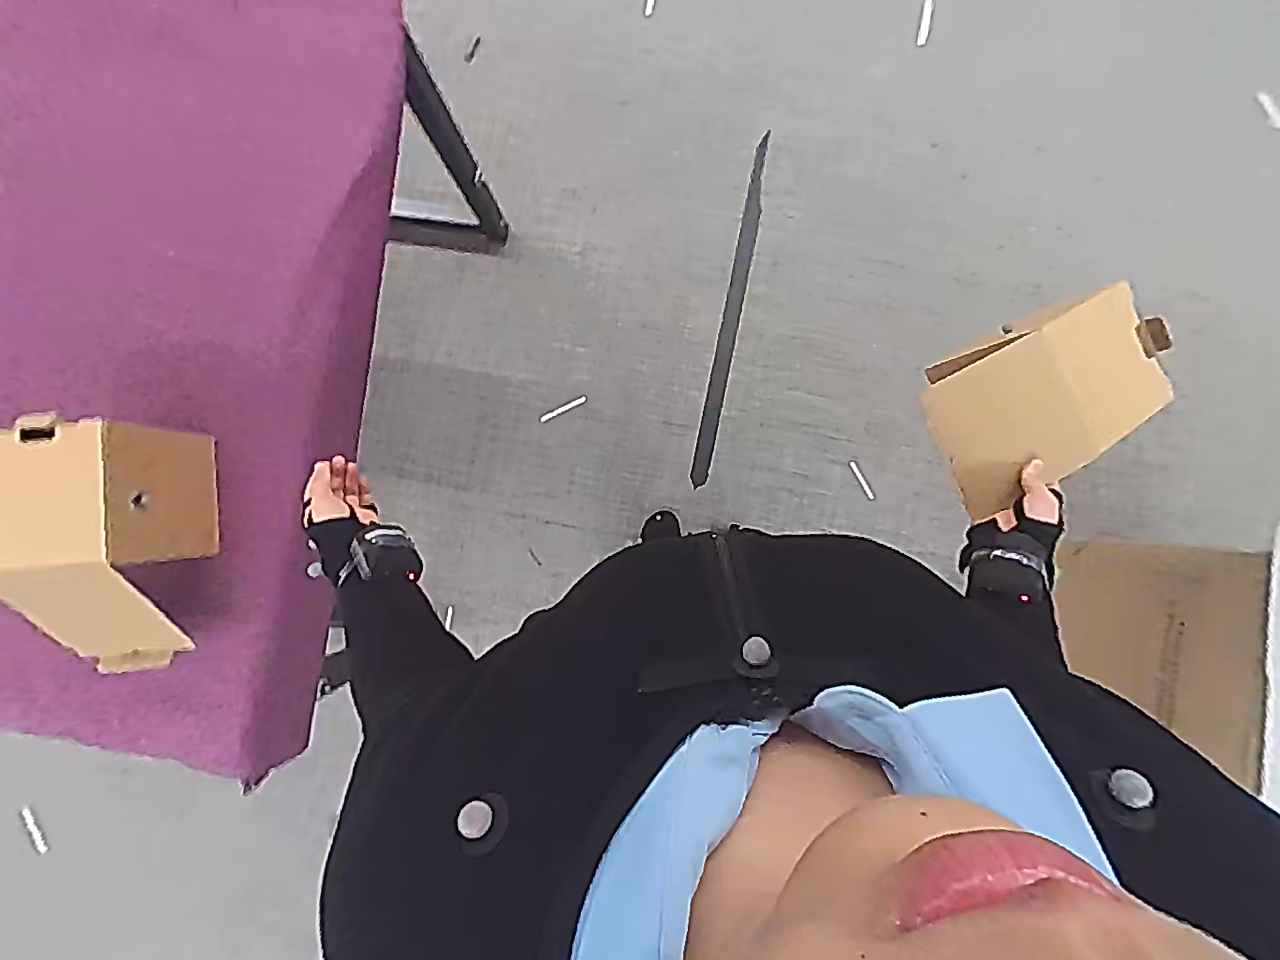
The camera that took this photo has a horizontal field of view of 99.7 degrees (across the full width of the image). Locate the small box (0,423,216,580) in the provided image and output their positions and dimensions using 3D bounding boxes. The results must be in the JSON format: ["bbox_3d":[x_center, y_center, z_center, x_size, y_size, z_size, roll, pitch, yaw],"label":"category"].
[{"bbox_3d":[-0.702,0.029,0.713,0.168,0.176,0.179,-5,86,1],"label":"small box"}]
